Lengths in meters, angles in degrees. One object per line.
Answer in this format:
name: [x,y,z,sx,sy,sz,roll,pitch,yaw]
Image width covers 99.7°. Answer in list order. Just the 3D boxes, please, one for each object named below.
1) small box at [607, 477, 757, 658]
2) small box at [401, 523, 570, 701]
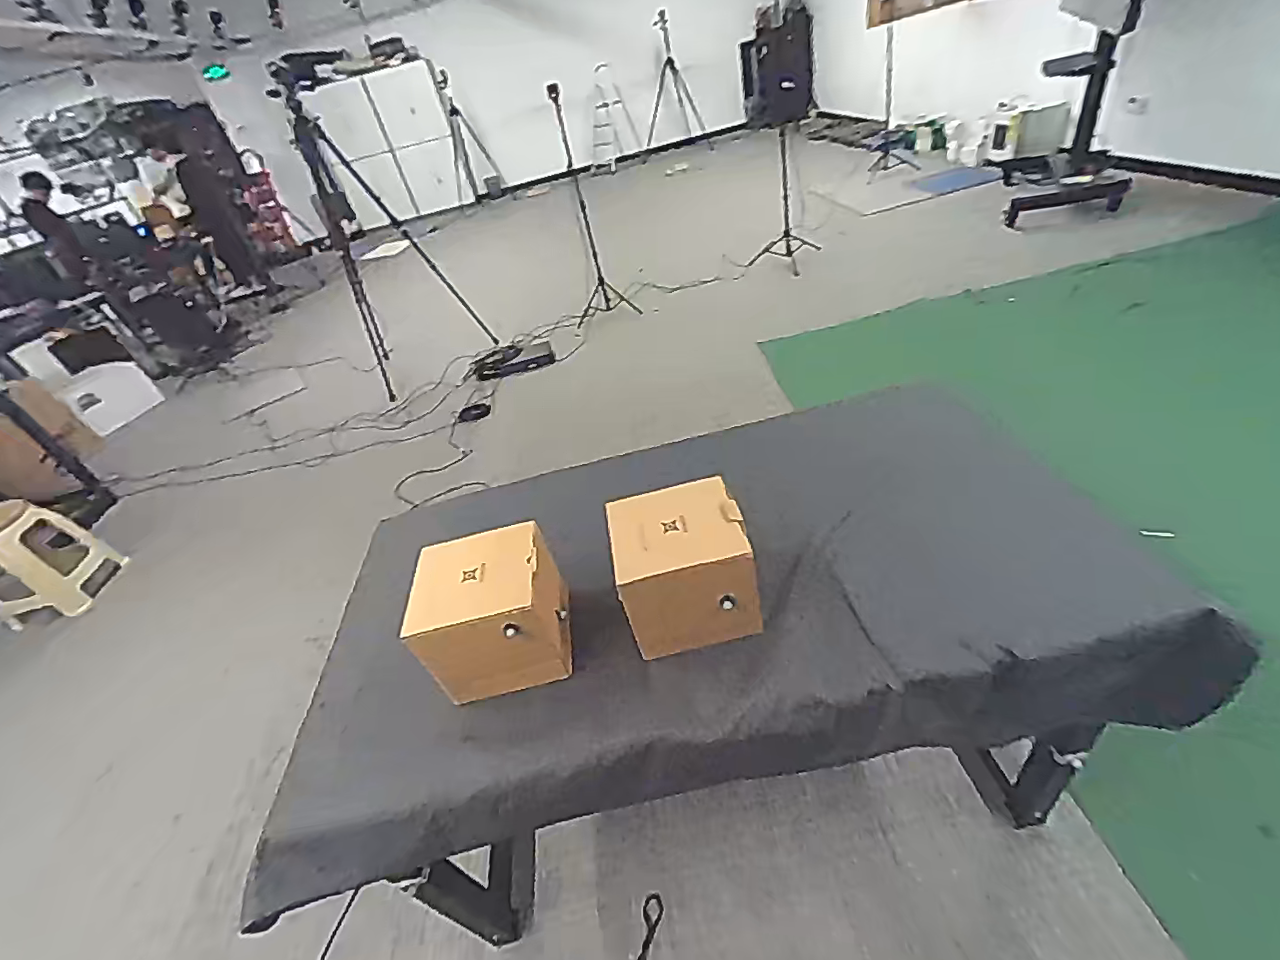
small box: [0.062,0.126,0.777,0.179,0.176,0.168,-16,36,2]
small box: [-0.211,0.194,0.789,0.179,0.176,0.168,-14,37,1]
